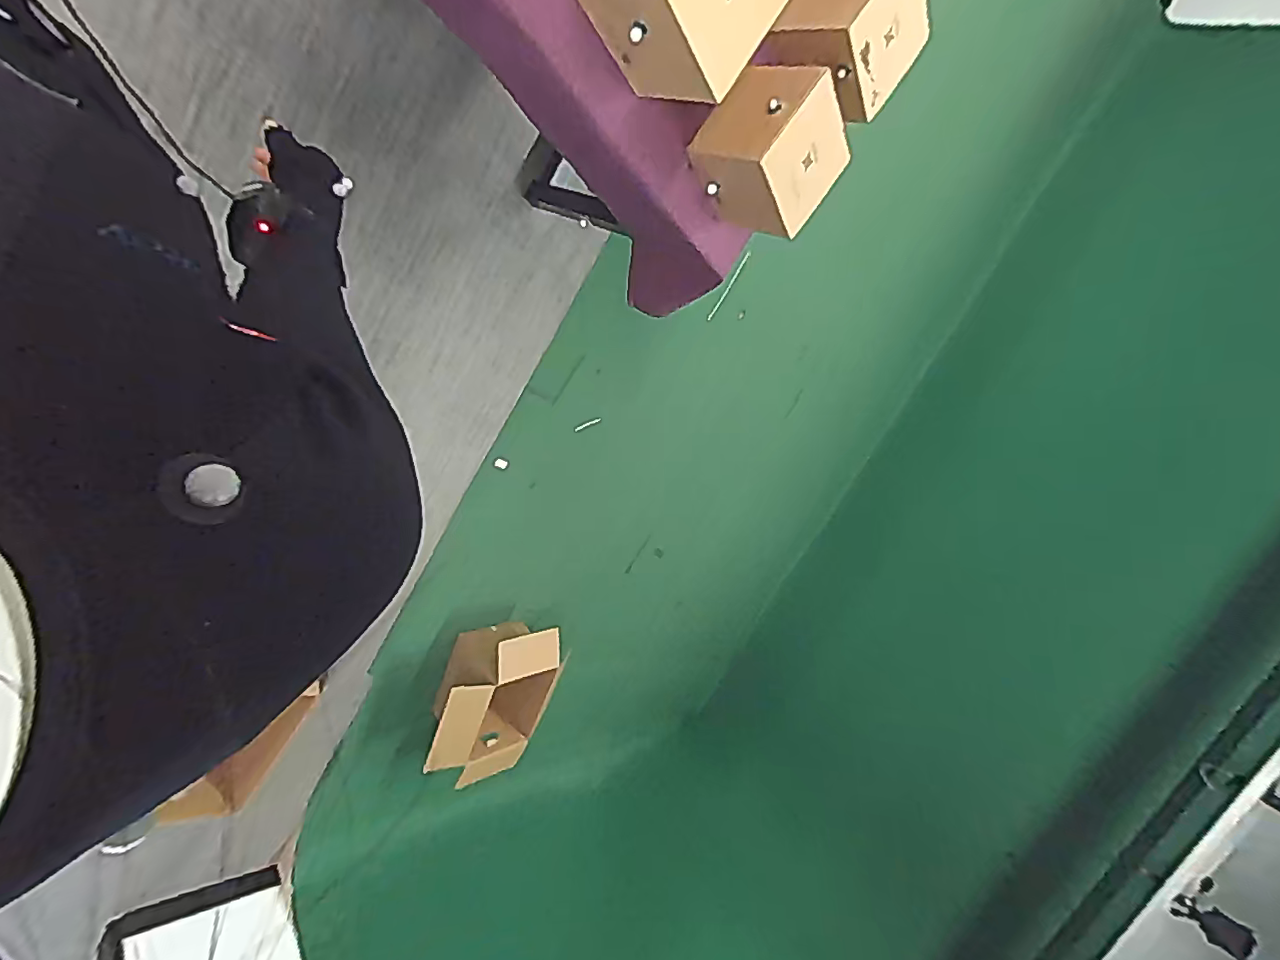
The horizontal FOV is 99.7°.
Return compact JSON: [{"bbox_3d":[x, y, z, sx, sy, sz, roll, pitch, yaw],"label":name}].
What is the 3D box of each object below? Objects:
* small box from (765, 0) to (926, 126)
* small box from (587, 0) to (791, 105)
[{"bbox_3d":[0.335,-0.726,0.885,0.179,0.176,0.168,-55,143,2],"label":"small box"},{"bbox_3d":[0.055,-0.612,0.673,0.179,0.176,0.168,-55,143,4],"label":"small box"}]
